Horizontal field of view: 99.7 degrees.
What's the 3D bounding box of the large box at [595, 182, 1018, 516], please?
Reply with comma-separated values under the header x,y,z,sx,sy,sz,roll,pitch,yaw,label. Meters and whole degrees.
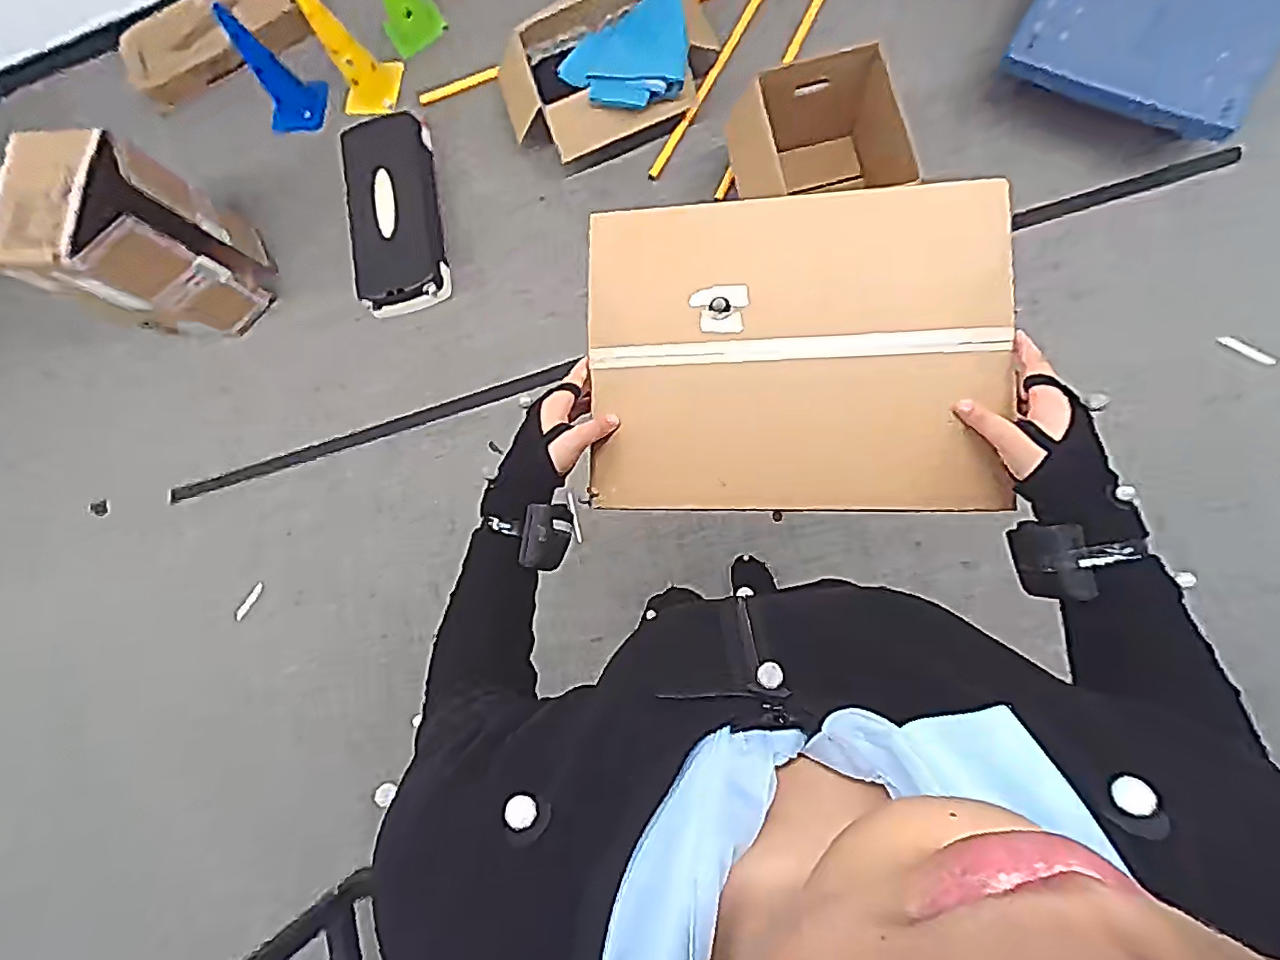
x,y,z,sx,sy,sz,roll,pitch,yaw,label
0.177,-0.119,0.676,0.408,0.320,0.320,0,87,10,large box
